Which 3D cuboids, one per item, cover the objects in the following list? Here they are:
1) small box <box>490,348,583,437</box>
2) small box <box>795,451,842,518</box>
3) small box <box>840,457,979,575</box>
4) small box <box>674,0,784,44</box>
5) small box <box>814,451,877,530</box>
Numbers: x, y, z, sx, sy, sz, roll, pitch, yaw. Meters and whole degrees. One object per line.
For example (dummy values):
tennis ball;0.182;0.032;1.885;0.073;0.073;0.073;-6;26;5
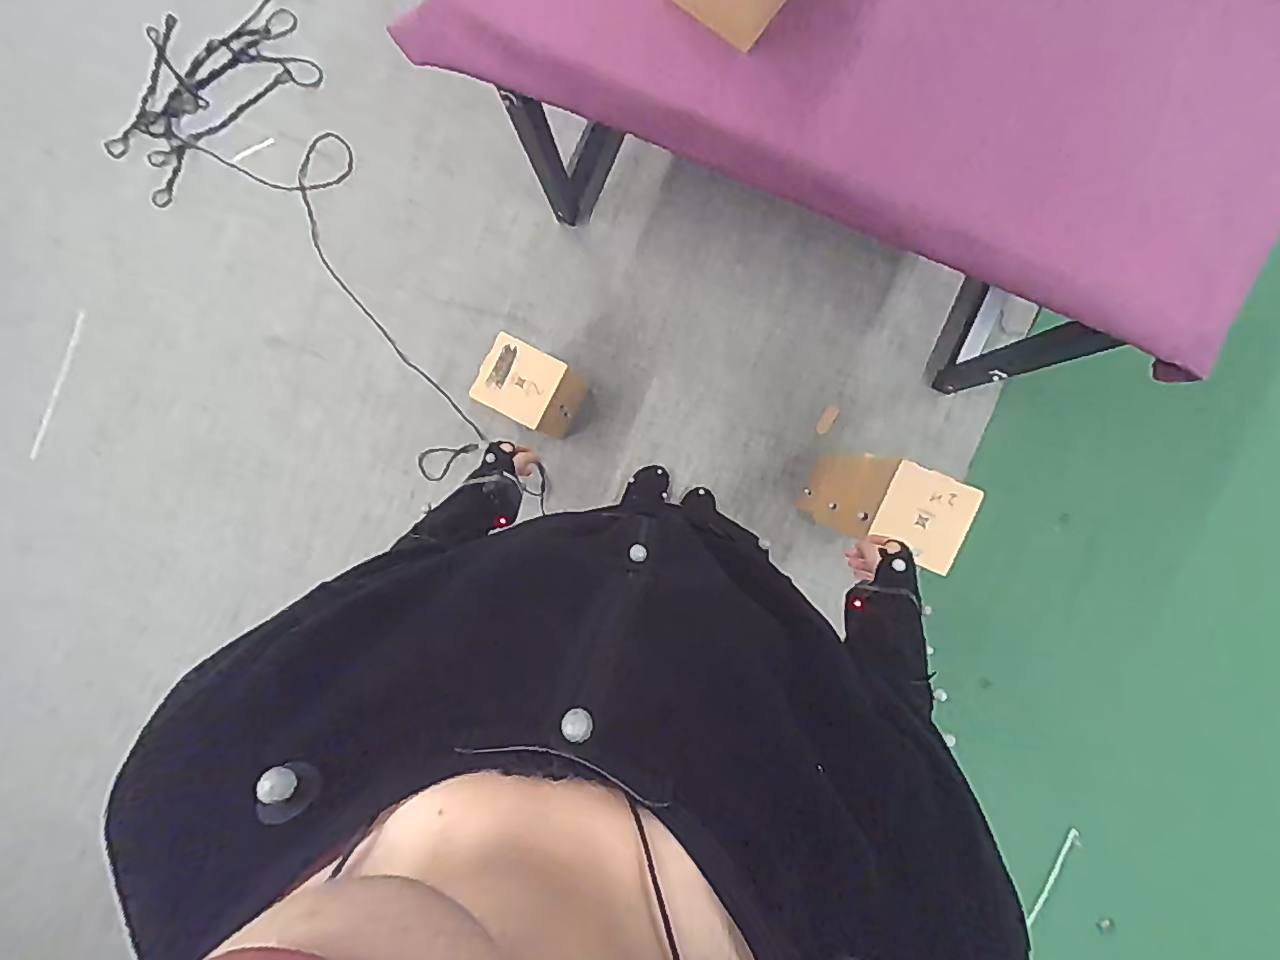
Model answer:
small box;-0.266;-0.224;1.443;0.168;0.176;0.179;28;93;2
small box;0.528;0.036;1.410;0.179;0.176;0.168;25;92;2
small box;0.525;0.064;1.084;0.168;0.176;0.179;23;93;1
small box;0.125;-0.722;0.688;0.179;0.176;0.168;37;93;1
small box;0.524;0.044;1.249;0.168;0.176;0.179;23;94;2
